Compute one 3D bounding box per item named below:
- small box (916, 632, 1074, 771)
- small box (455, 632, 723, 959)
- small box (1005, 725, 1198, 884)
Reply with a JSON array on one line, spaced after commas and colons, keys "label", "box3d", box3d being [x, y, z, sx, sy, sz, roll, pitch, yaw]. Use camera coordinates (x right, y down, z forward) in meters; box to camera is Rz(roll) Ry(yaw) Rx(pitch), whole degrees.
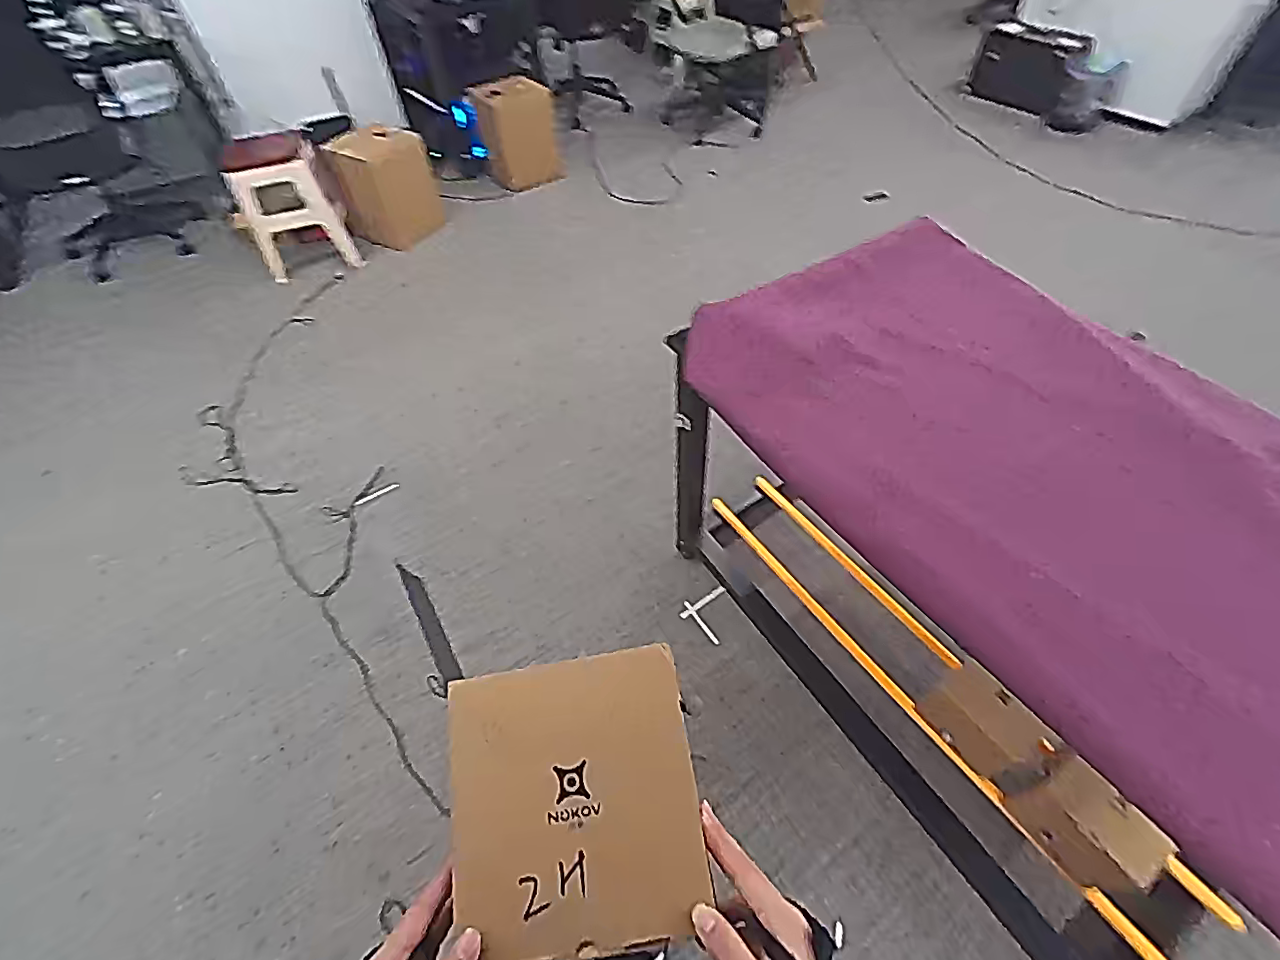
[{"label": "small box", "box3d": [0.686, 0.440, 1.070, 0.179, 0.176, 0.168, -31, 56, -16]}, {"label": "small box", "box3d": [-0.036, 0.233, 0.432, 0.168, 0.176, 0.179, -10, 66, 1]}, {"label": "small box", "box3d": [0.799, 0.573, 0.958, 0.179, 0.176, 0.168, -31, 56, -17]}]
